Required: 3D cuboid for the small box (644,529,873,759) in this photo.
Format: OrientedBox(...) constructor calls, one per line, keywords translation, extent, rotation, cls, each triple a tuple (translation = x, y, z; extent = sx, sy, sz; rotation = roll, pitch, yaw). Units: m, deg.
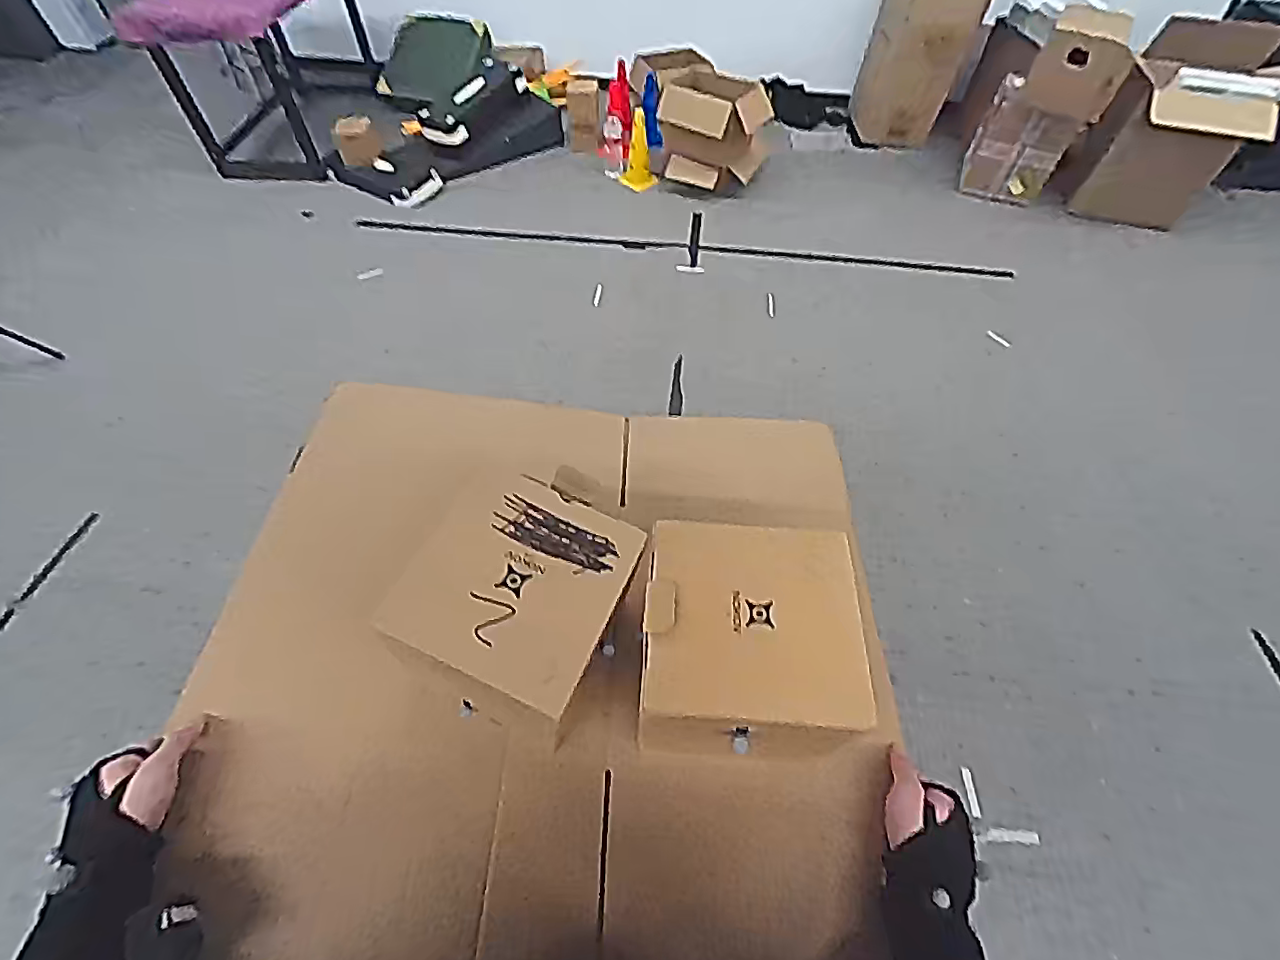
OrientedBox(translation=(0.097, 0.163, 0.521), extent=(0.179, 0.176, 0.168), rotation=(3, 55, 3), cls="small box")
